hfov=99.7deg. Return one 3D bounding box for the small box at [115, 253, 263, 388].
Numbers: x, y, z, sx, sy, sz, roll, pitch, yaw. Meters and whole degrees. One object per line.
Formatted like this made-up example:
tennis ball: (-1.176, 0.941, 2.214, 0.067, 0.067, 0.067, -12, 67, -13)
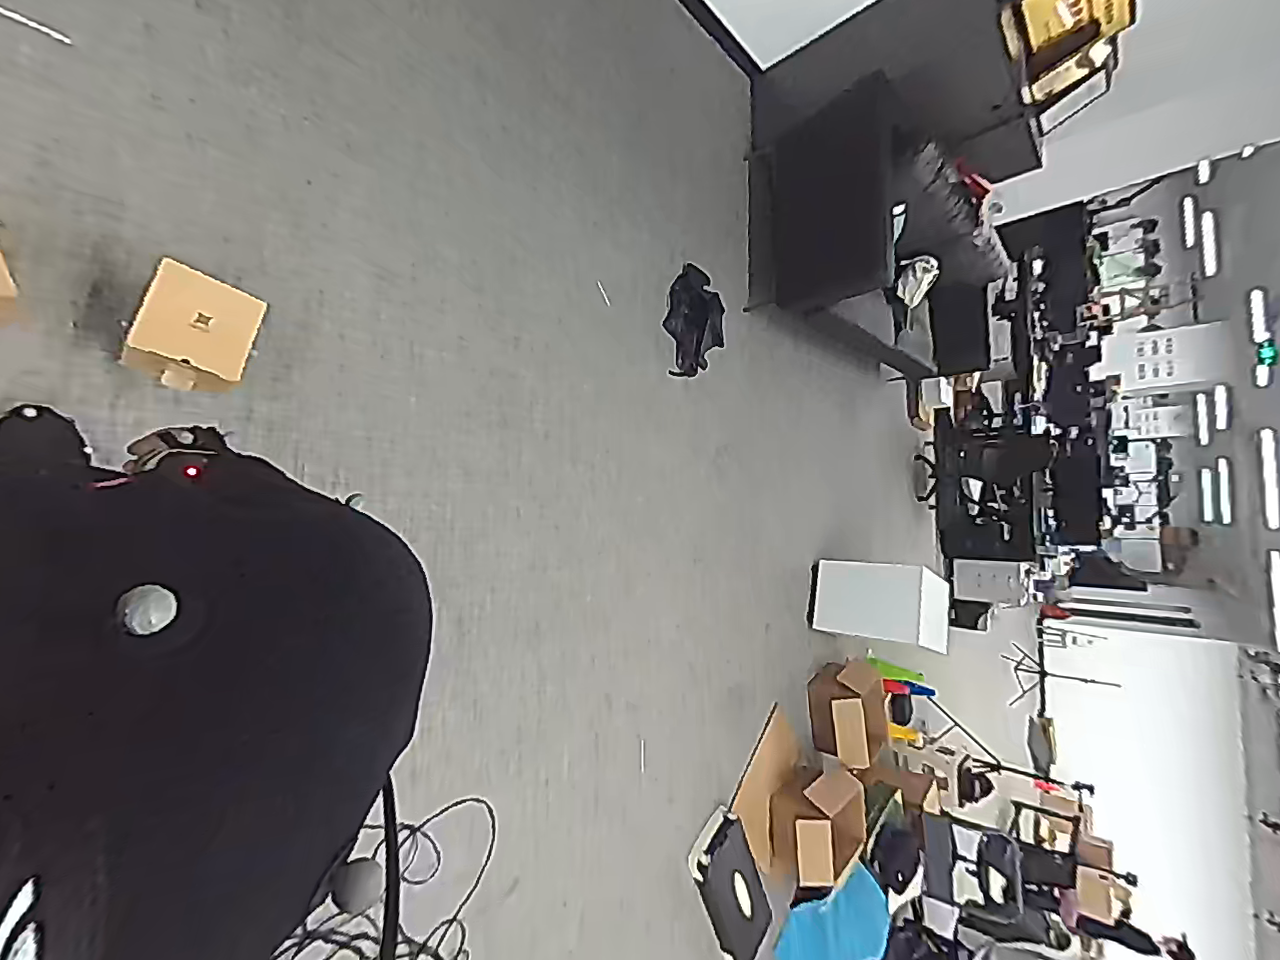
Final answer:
small box: (-0.868, -0.294, 1.039, 0.168, 0.176, 0.179, 24, 71, -45)
